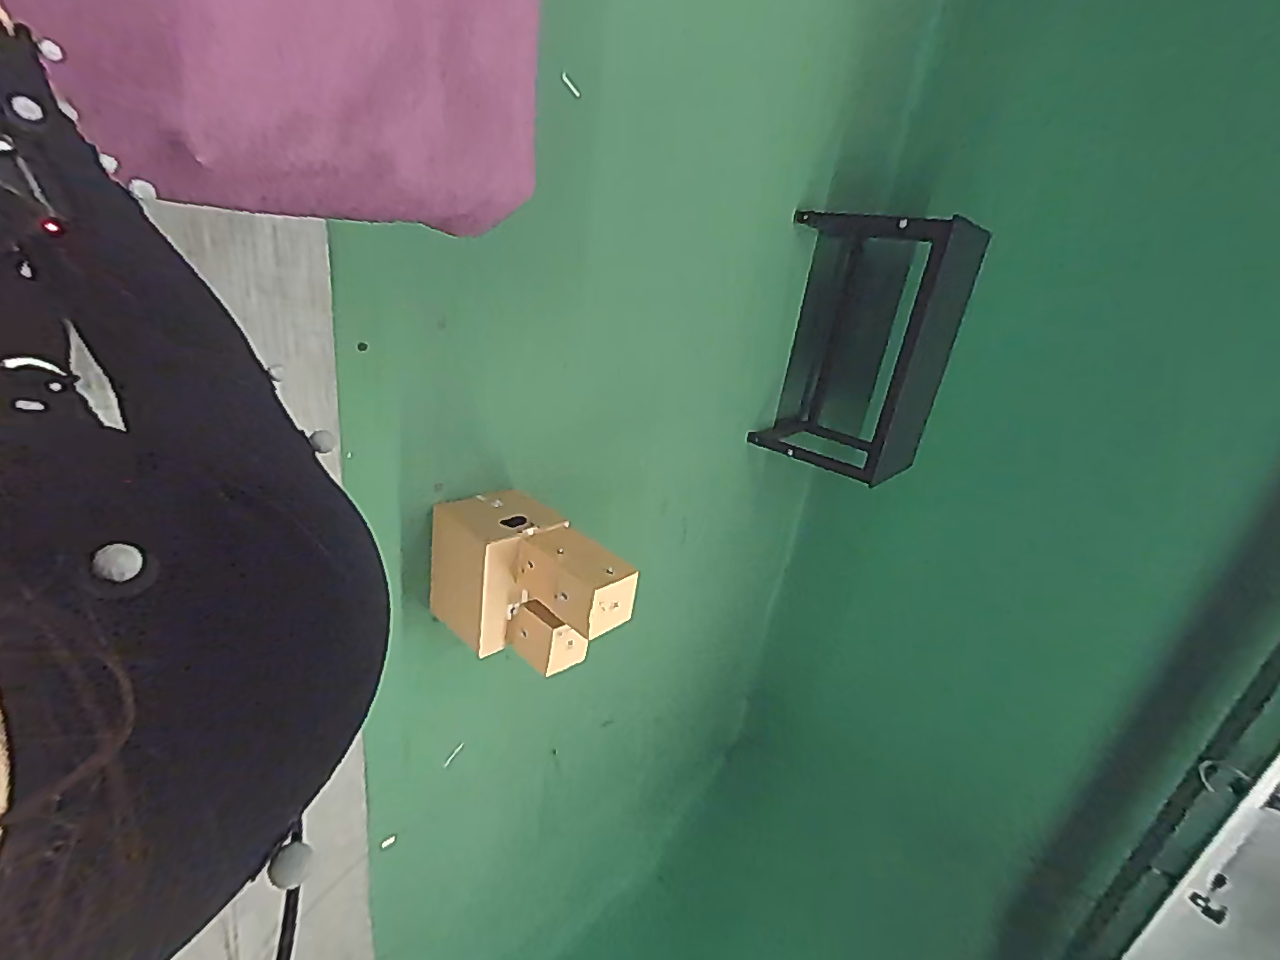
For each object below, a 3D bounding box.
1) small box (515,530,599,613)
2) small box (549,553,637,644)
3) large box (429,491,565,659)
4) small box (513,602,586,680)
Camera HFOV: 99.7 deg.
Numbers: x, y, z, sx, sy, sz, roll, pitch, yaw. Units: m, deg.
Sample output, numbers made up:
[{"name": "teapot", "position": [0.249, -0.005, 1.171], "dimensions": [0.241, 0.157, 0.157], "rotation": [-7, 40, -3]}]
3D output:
[{"name": "small box", "position": [-0.254, 0.269, 1.645], "dimensions": [0.179, 0.176, 0.168], "rotation": [-13, 120, -47]}, {"name": "small box", "position": [-0.136, 0.329, 1.546], "dimensions": [0.179, 0.176, 0.168], "rotation": [-14, 121, -46]}, {"name": "large box", "position": [-0.480, 0.293, 1.788], "dimensions": [0.320, 0.320, 0.408], "rotation": [-13, 120, -46]}, {"name": "small box", "position": [-0.286, 0.500, 1.732], "dimensions": [0.168, 0.176, 0.179], "rotation": [-7, 115, -50]}]
